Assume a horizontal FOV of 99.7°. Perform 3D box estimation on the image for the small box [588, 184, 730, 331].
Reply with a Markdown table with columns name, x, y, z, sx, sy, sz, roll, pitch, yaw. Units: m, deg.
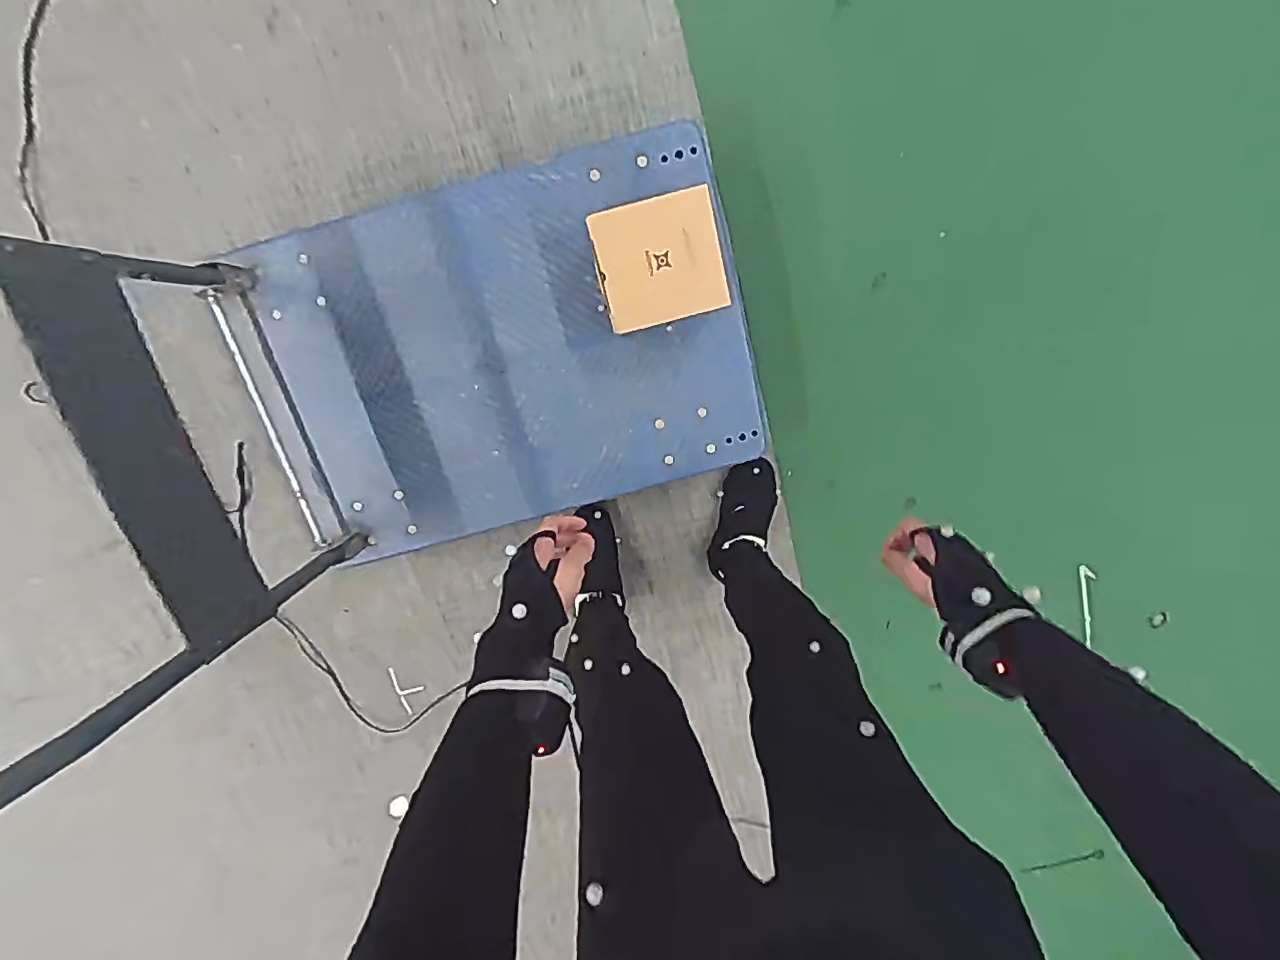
| name | x | y | z | sx | sy | sz | roll | pitch | yaw |
| --- | --- | --- | --- | --- | --- | --- | --- | --- | --- |
| small box | 0.029 | -0.331 | 0.839 | 0.179 | 0.176 | 0.168 | -13 | 105 | 2 |
